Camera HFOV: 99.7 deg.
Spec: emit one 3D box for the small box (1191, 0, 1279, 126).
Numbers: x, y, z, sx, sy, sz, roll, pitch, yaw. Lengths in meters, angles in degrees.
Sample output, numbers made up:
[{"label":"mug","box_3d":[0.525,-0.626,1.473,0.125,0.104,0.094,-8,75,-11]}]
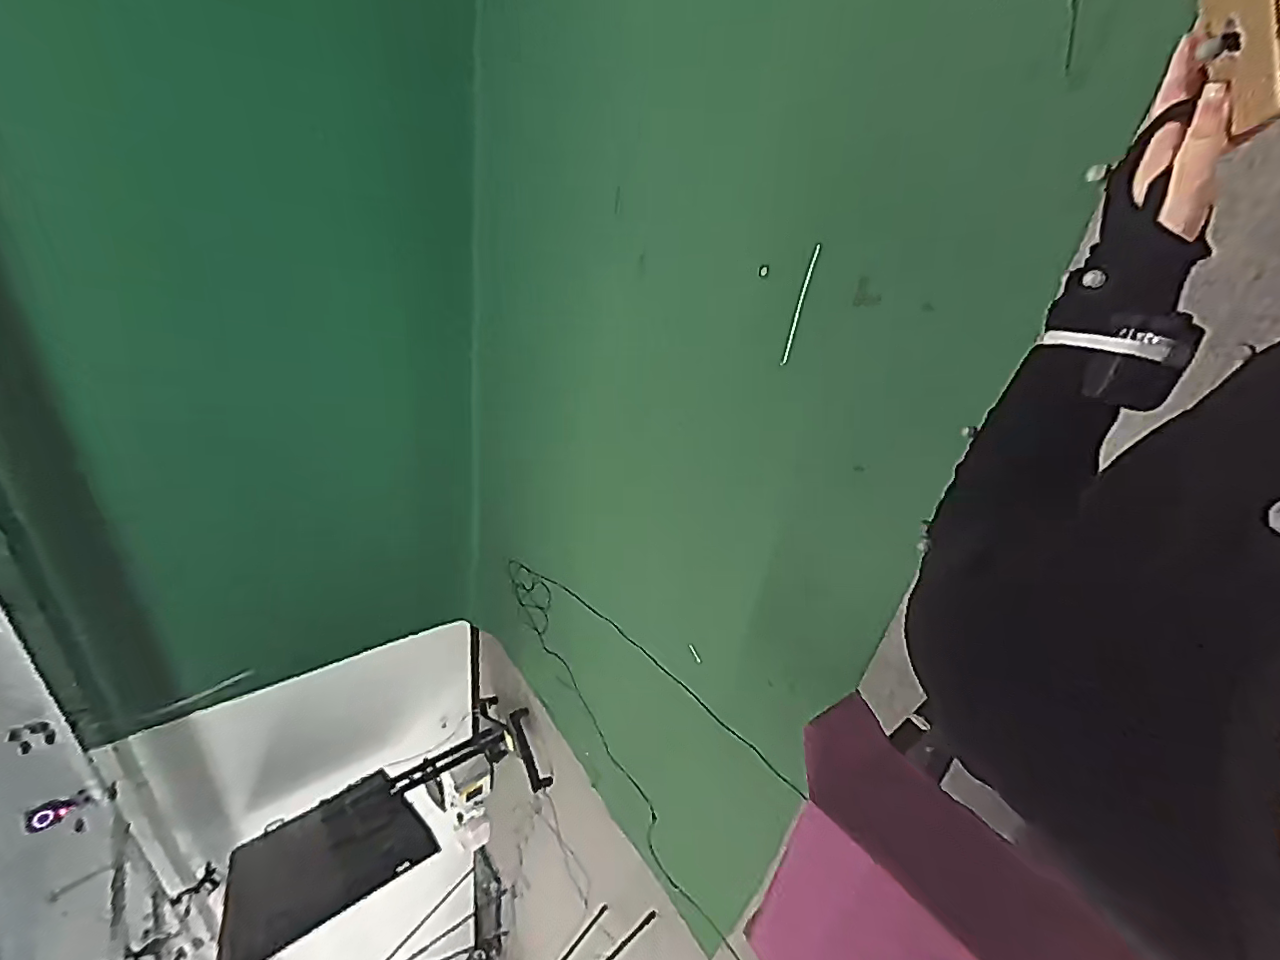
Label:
[{"label":"small box","box_3d":[0.375,-0.289,0.241,0.179,0.176,0.168,-7,107,40]}]
